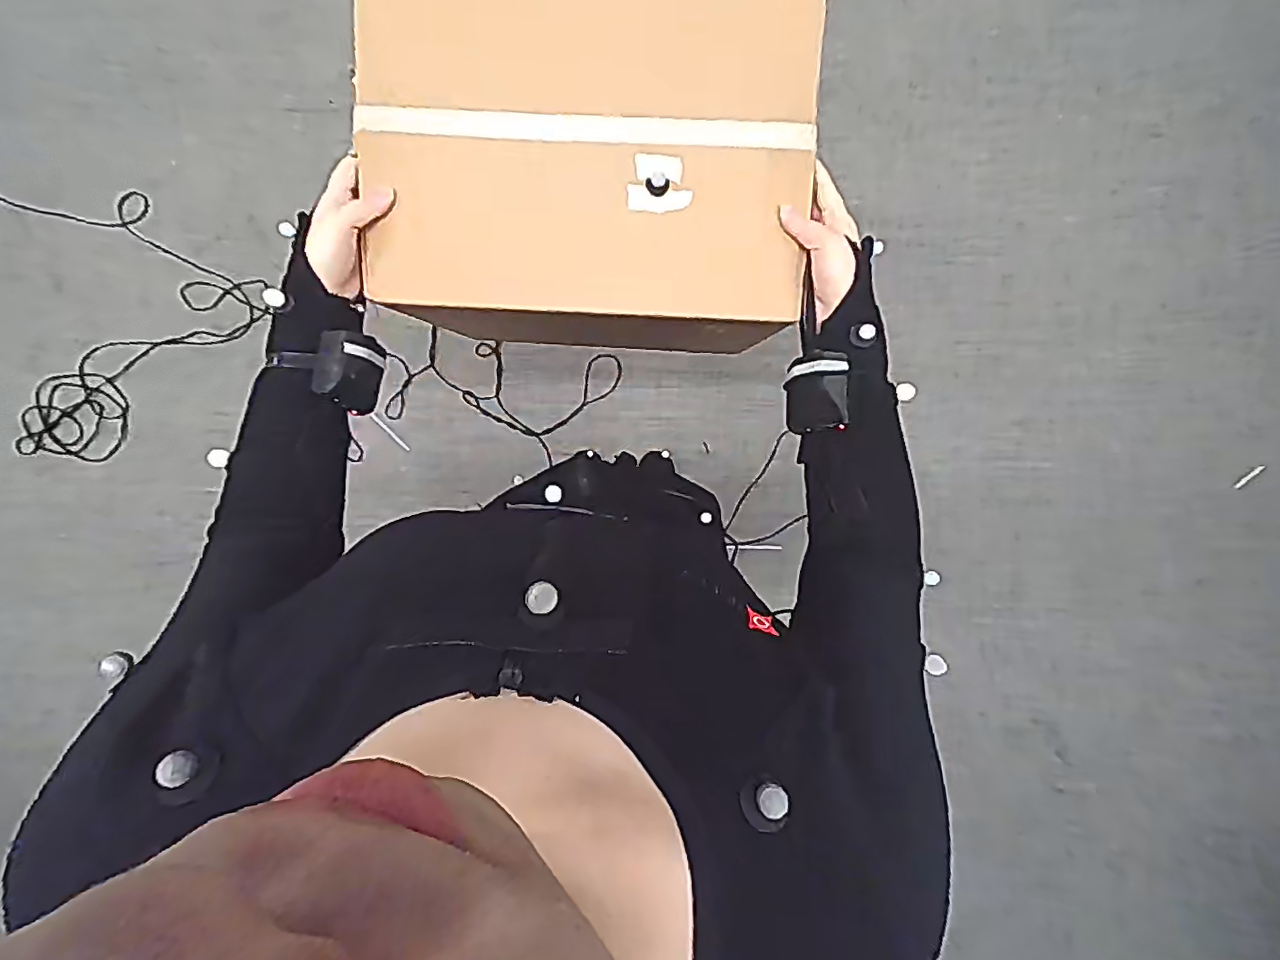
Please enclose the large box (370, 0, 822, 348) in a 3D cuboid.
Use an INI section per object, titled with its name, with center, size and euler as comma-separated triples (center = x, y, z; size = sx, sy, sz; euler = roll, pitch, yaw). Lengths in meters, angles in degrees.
[large box]
center = -0.045, -0.332, 0.635
size = 0.408, 0.320, 0.320
euler = 2, 98, -1
